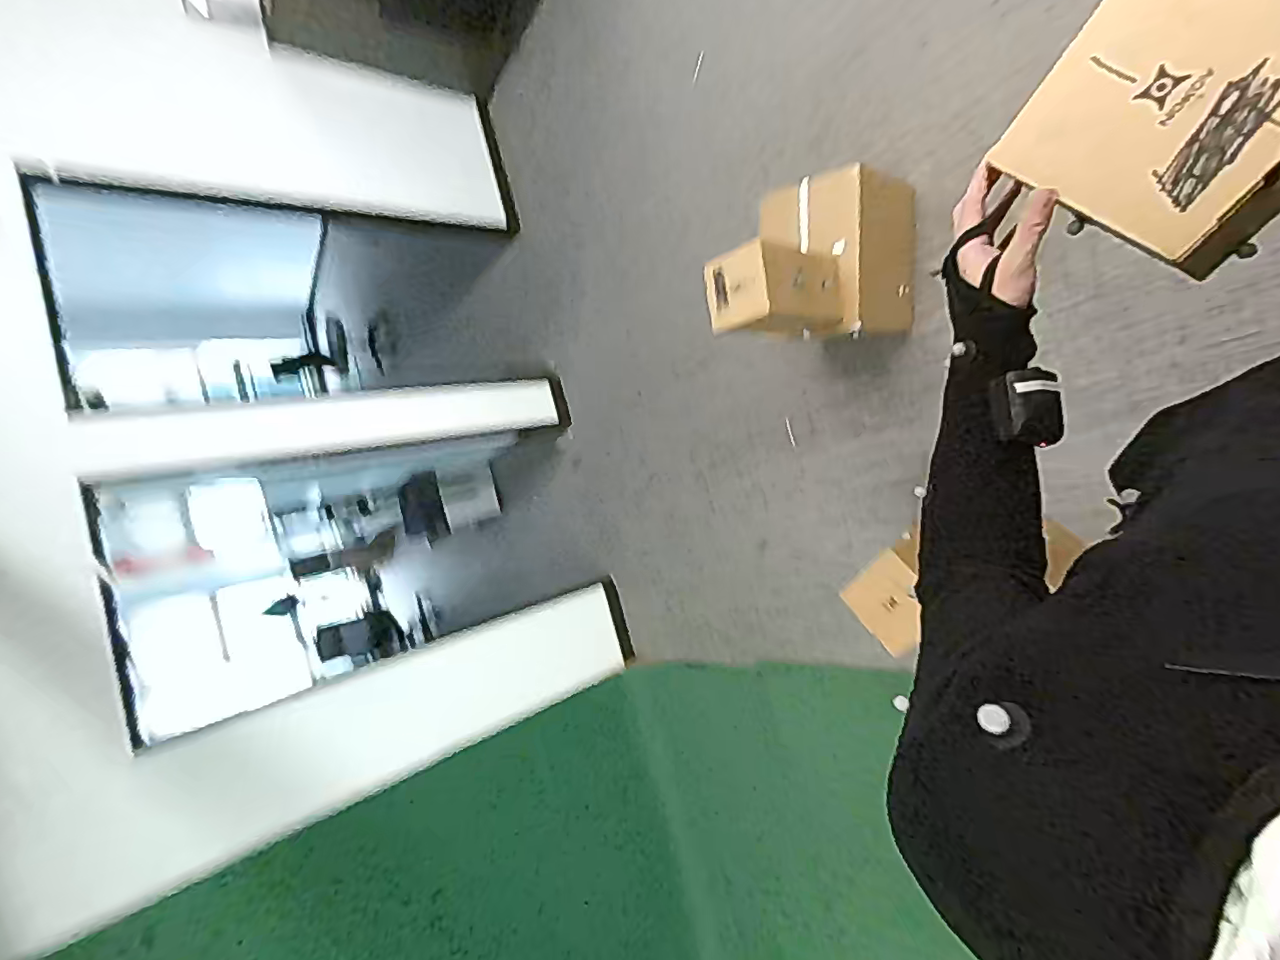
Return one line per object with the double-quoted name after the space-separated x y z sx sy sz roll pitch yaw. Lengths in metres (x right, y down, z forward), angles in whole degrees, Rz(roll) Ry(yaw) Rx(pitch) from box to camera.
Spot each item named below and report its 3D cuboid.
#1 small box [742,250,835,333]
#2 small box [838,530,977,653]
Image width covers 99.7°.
0.400 -0.491 1.431 0.179 0.176 0.168 -4 96 50 "small box"
0.572 0.234 1.155 0.168 0.176 0.179 52 134 27 "small box"
